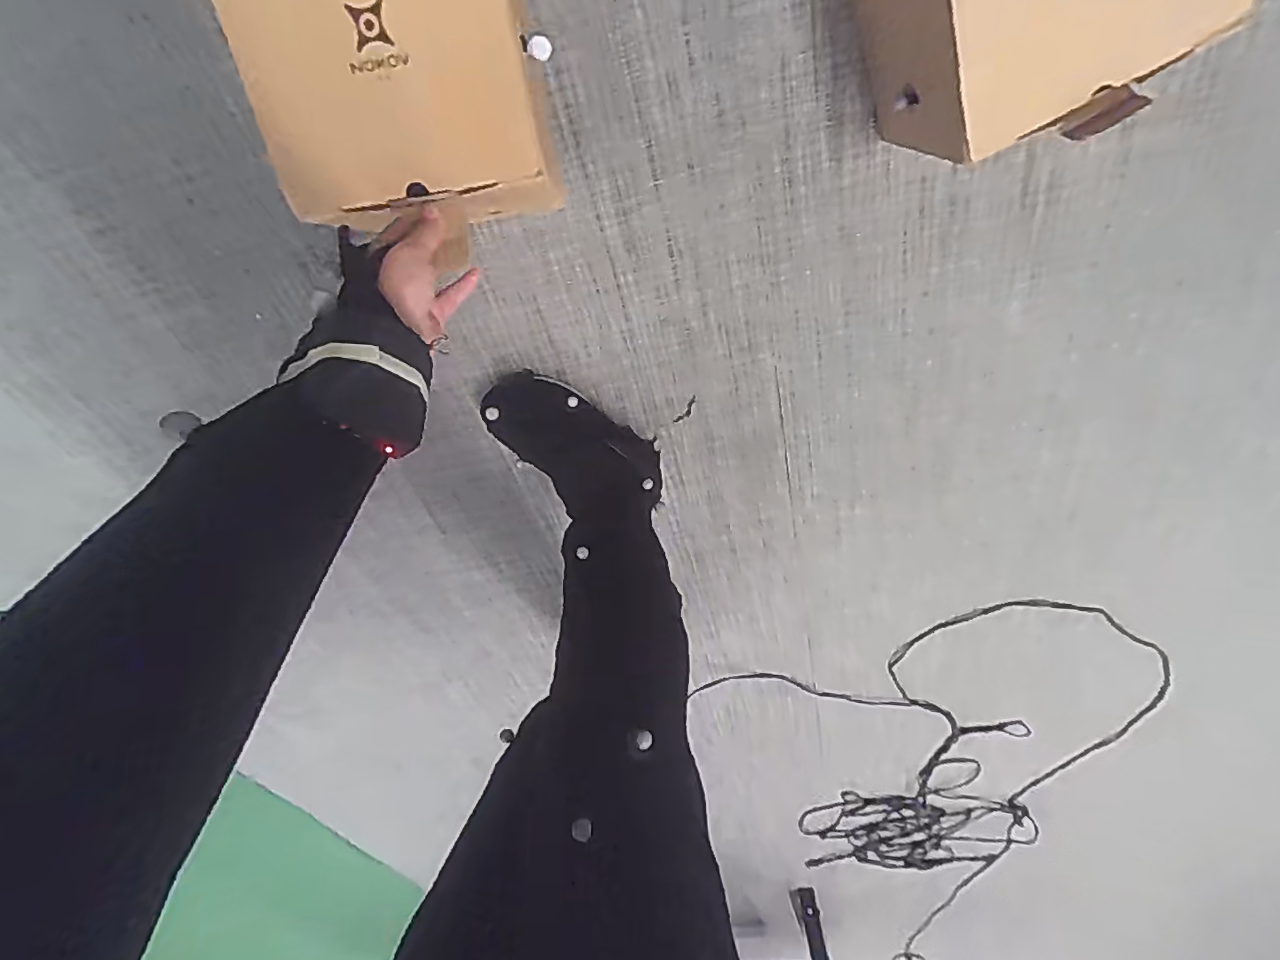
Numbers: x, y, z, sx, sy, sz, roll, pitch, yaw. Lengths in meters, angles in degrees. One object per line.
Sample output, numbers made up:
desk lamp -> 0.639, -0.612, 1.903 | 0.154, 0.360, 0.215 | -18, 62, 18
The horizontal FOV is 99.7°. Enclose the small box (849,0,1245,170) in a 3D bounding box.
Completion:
small box -> 0.258, -0.353, 0.374 | 0.168, 0.176, 0.179 | -24, 123, 15

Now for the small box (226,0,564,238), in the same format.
small box -> -0.156, -0.286, 0.395 | 0.168, 0.176, 0.179 | -10, 113, 1
